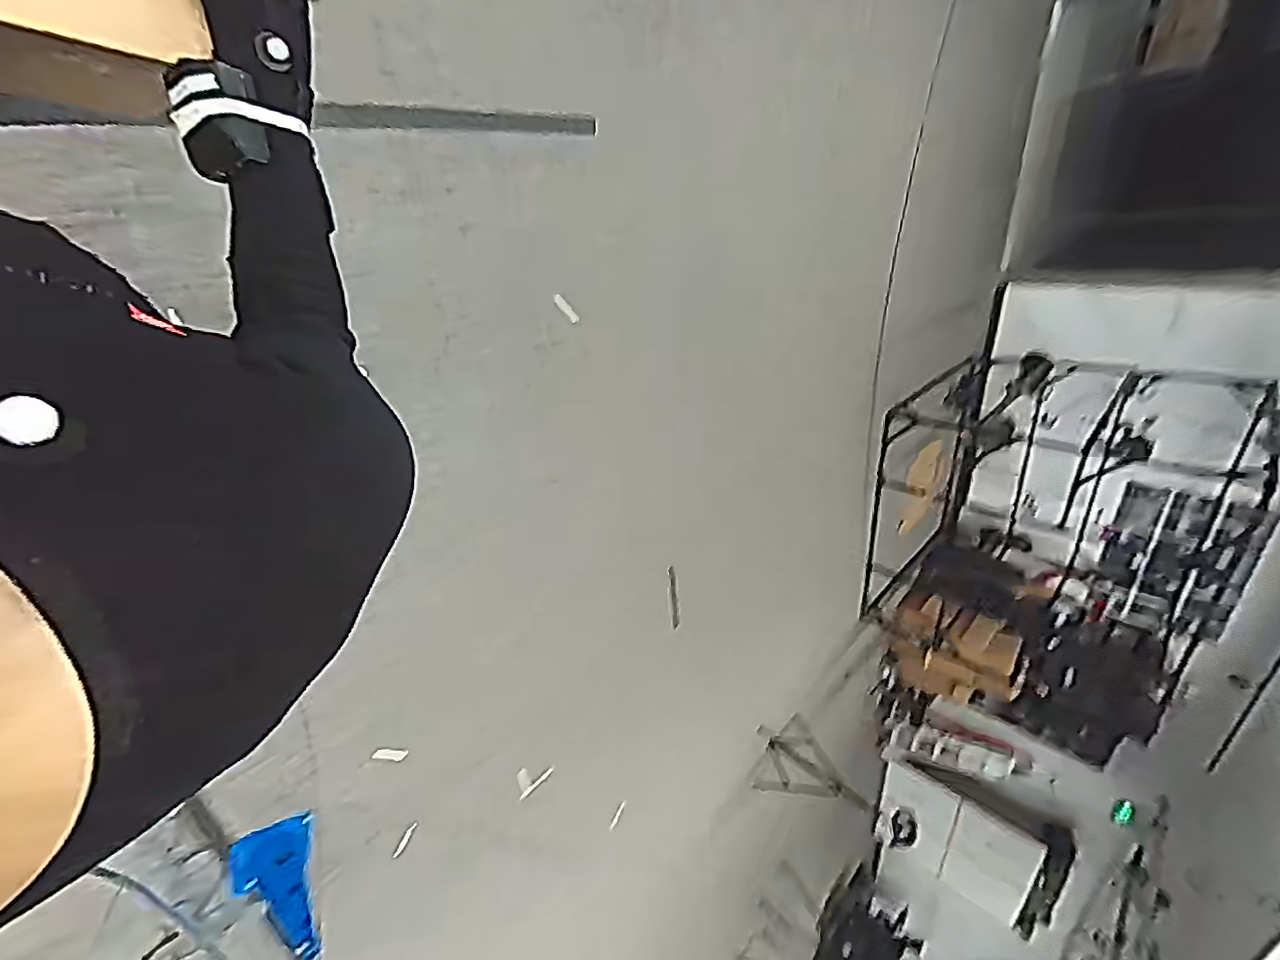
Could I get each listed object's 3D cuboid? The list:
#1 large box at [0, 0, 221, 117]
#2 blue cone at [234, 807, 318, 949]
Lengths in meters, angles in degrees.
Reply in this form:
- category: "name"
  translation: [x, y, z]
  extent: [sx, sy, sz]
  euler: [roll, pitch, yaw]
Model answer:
- category: "large box"
  translation: [-0.549, -0.448, 0.305]
  extent: [0.408, 0.320, 0.320]
  euler: [-18, 121, -46]
- category: "blue cone"
  translation: [-0.955, 1.114, 1.471]
  extent: [0.193, 0.380, 0.192]
  euler: [-1, 106, -47]
